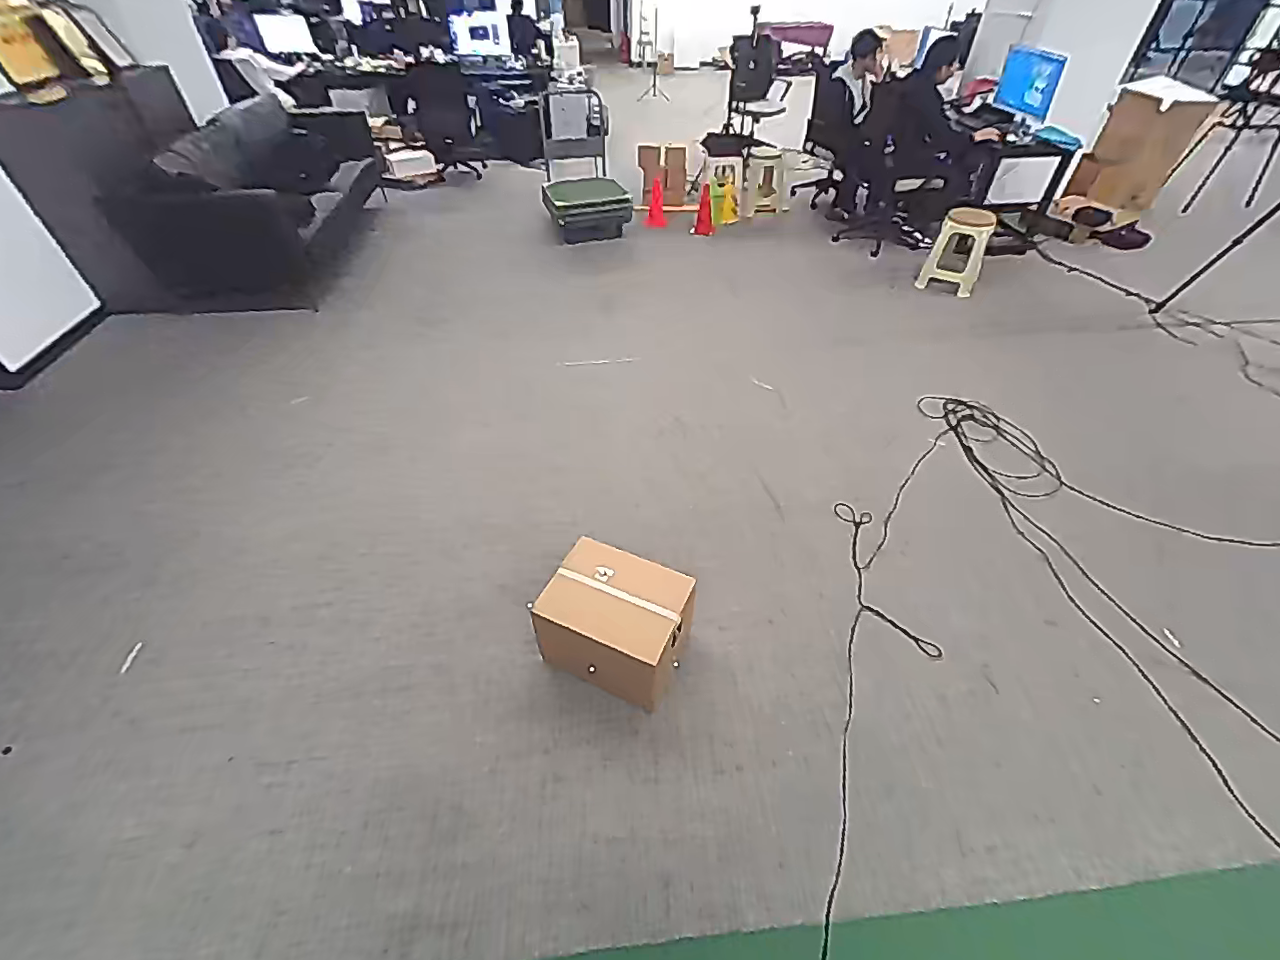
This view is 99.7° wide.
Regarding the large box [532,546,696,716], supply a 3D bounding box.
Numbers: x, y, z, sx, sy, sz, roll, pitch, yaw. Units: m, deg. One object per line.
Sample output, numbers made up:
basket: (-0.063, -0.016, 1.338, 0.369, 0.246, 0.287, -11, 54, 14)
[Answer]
large box: (-0.065, 0.468, 1.699, 0.408, 0.320, 0.320, 17, 46, 19)
